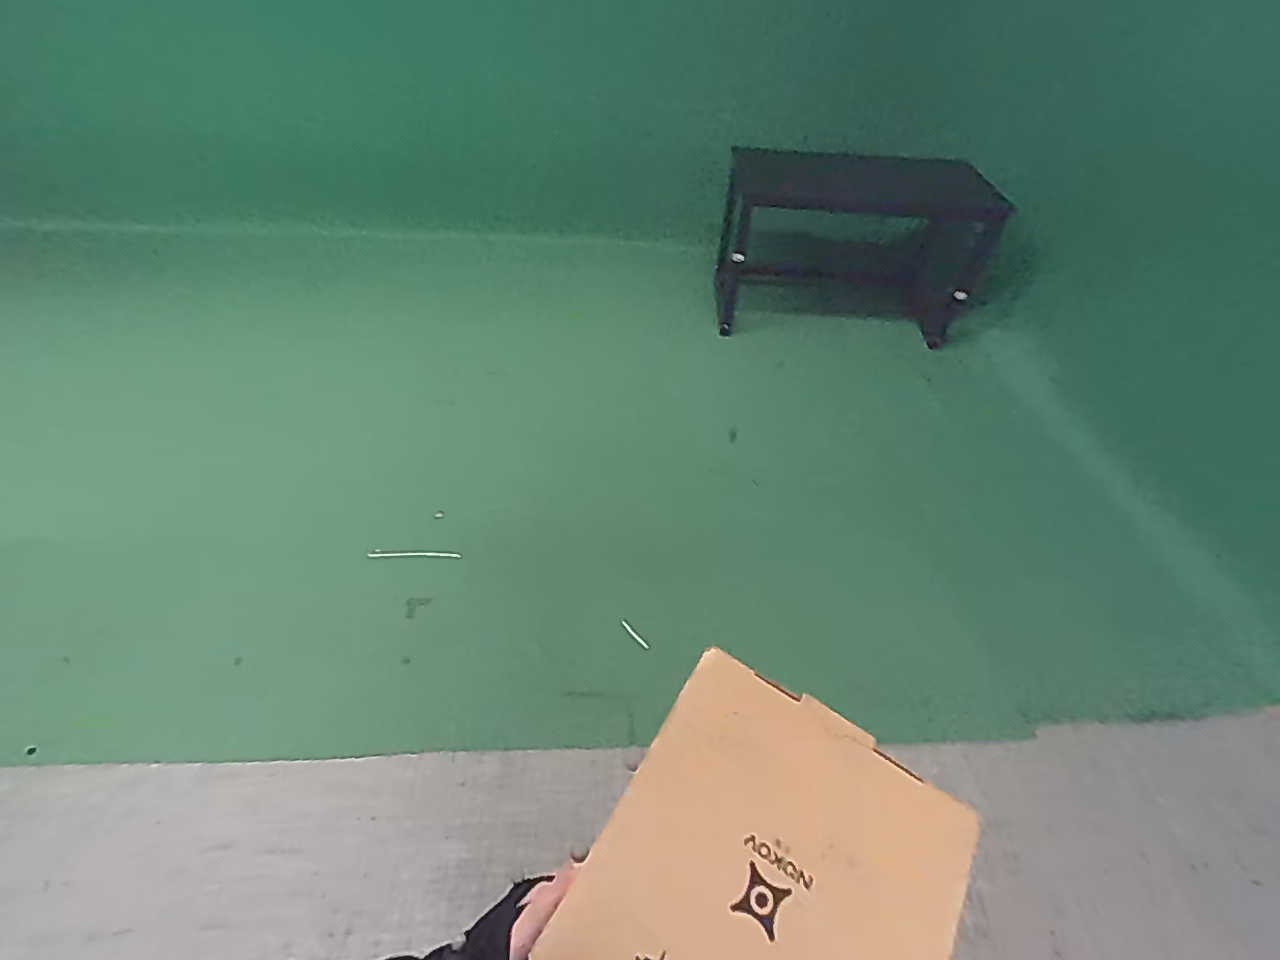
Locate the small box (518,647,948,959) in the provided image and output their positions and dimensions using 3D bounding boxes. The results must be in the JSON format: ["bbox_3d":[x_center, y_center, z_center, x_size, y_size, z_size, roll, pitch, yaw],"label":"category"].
[{"bbox_3d":[0.050,0.242,0.335,0.168,0.176,0.179,28,59,16],"label":"small box"}]
